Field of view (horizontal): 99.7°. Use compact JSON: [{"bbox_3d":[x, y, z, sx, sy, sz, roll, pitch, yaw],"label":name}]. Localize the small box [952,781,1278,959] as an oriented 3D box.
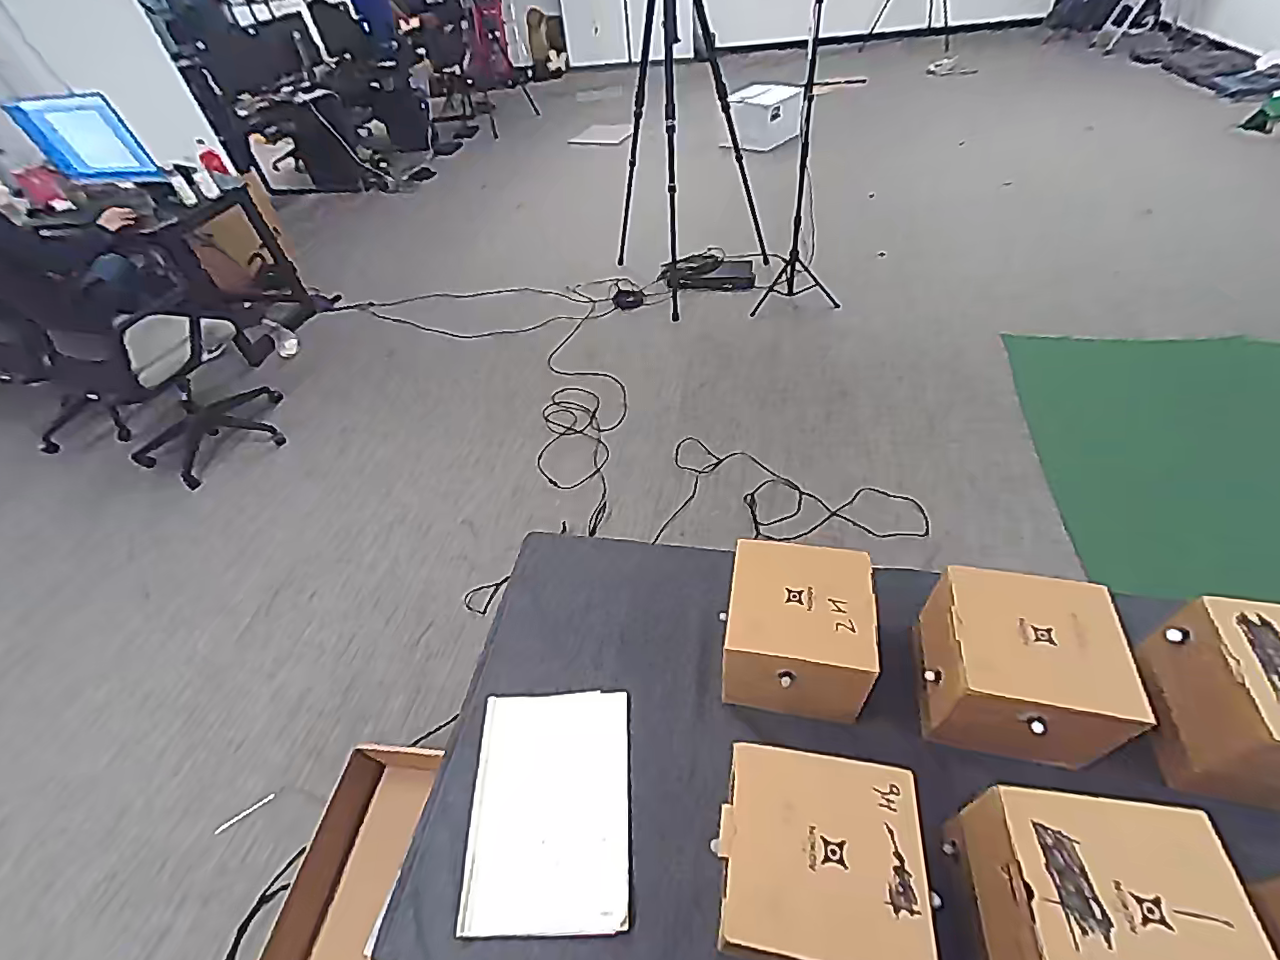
[{"bbox_3d":[0.415,0.404,0.501,0.179,0.176,0.168,3,47,9],"label":"small box"}]
